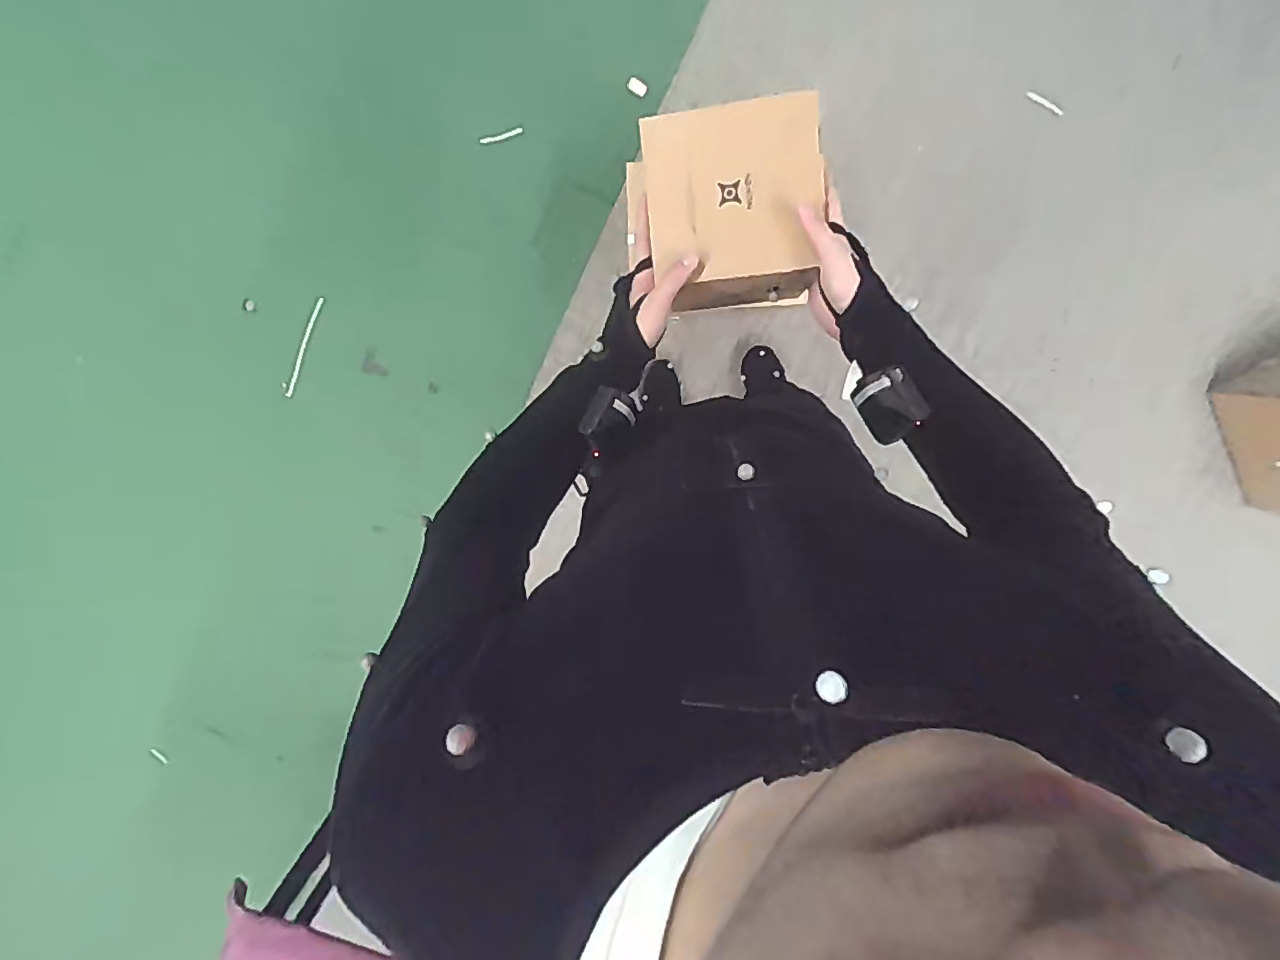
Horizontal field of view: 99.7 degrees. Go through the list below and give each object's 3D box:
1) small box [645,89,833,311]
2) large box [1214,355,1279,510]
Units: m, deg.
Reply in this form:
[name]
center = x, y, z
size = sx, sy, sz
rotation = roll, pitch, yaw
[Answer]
[small box]
center = 0.105, -0.293, 0.607
size = 0.179, 0.176, 0.168
rotation = -5, 98, 8
[large box]
center = 1.839, -0.129, 1.391
size = 0.320, 0.320, 0.408
rotation = -31, 100, 8
